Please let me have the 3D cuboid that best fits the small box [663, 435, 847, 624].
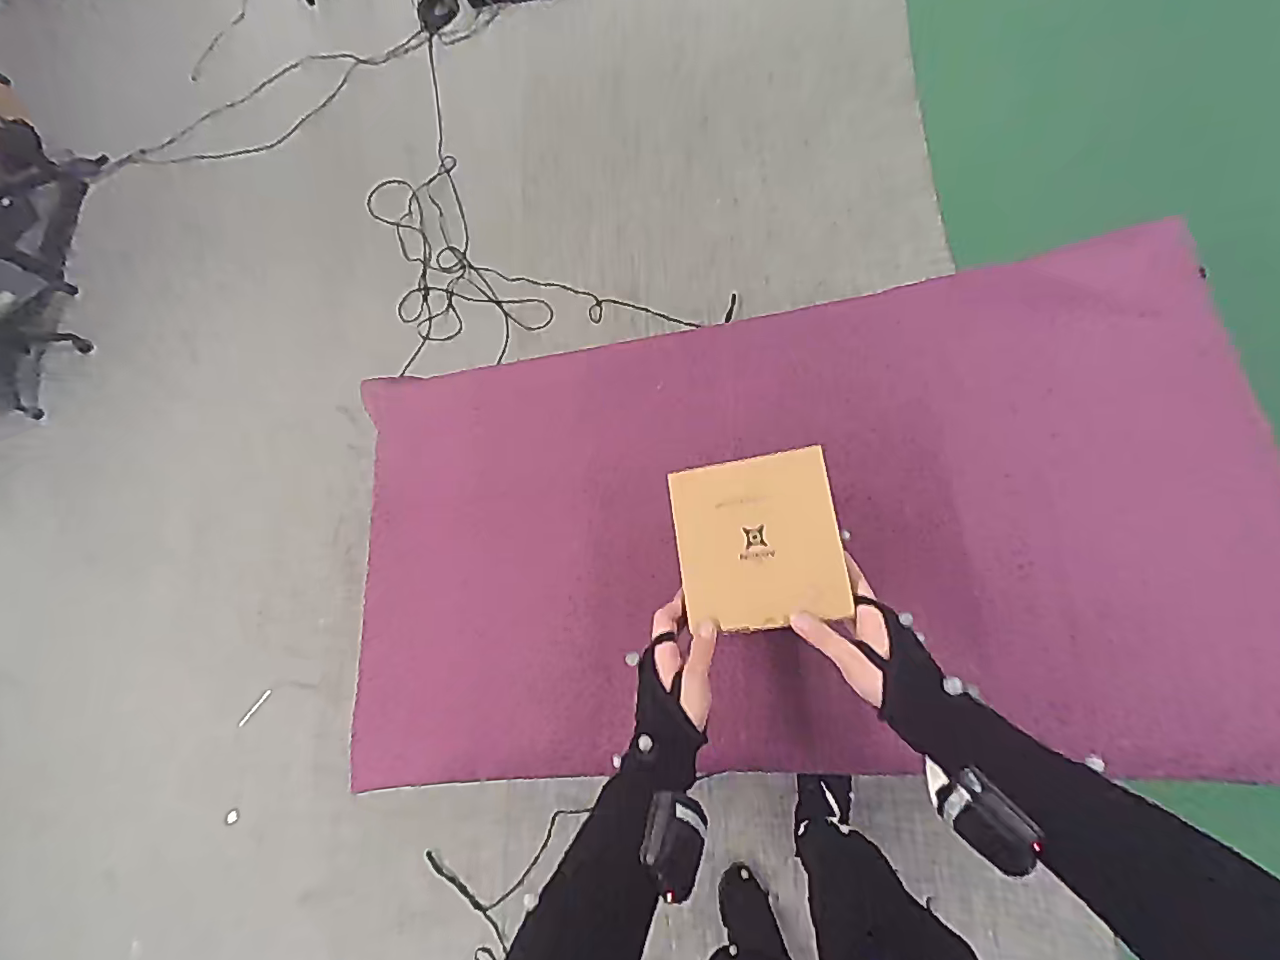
[{"bbox_3d":[0.135,0.064,0.633,0.168,0.176,0.179,-12,76,14],"label":"small box"}]
